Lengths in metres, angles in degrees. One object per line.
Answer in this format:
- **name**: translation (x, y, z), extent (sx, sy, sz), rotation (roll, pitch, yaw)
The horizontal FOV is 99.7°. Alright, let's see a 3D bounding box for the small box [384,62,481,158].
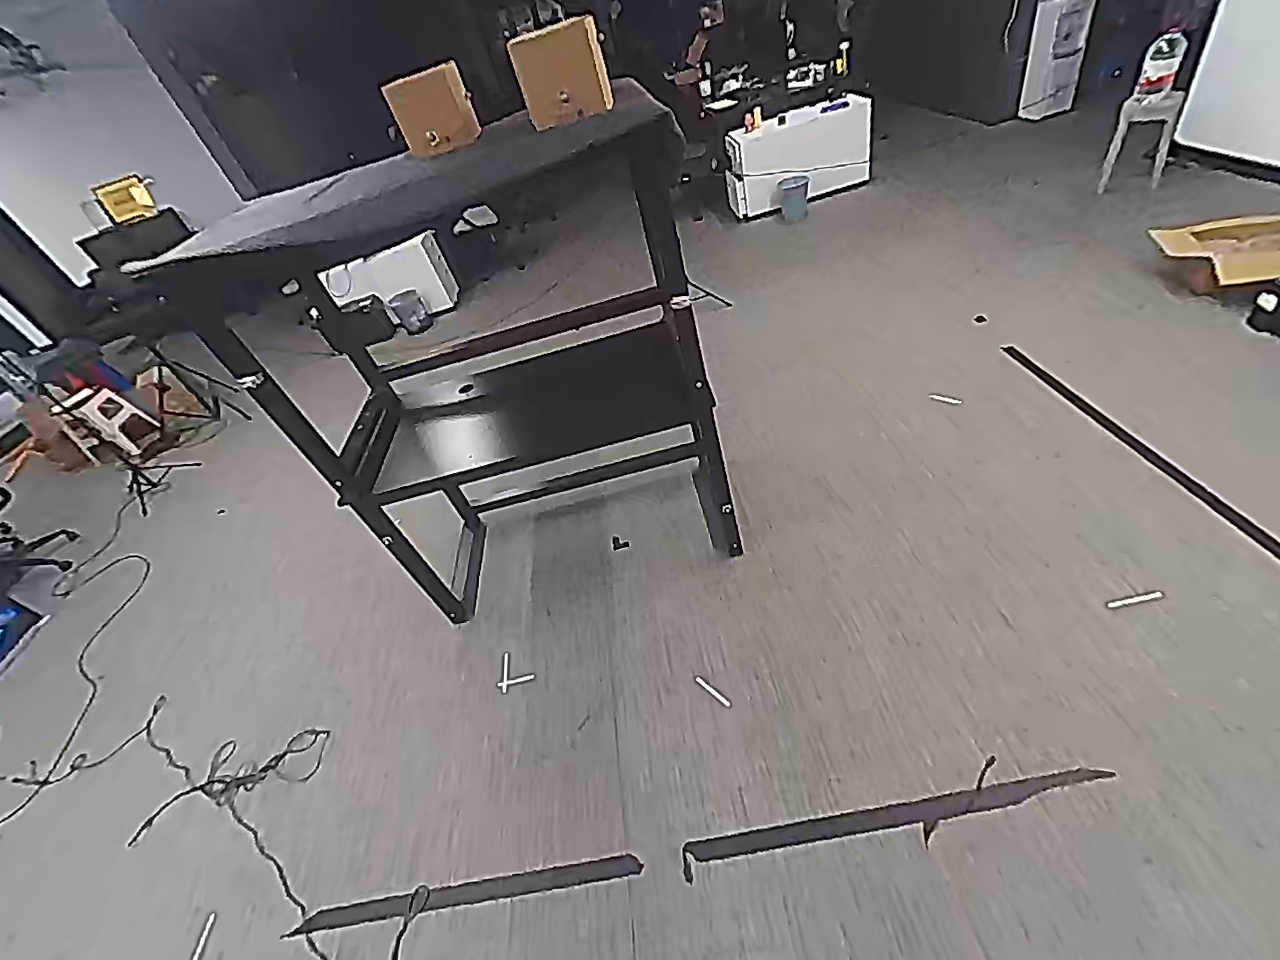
- **small box**: translation (-0.535, -0.971, 1.423), extent (0.168, 0.176, 0.179), rotation (-15, 41, 6)

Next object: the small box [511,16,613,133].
- **small box**: translation (-0.161, -0.891, 1.194), extent (0.168, 0.176, 0.179), rotation (-10, 42, 11)

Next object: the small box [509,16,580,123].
- **small box**: translation (-0.208, -1.023, 1.355), extent (0.168, 0.176, 0.179), rotation (-11, 43, 10)
